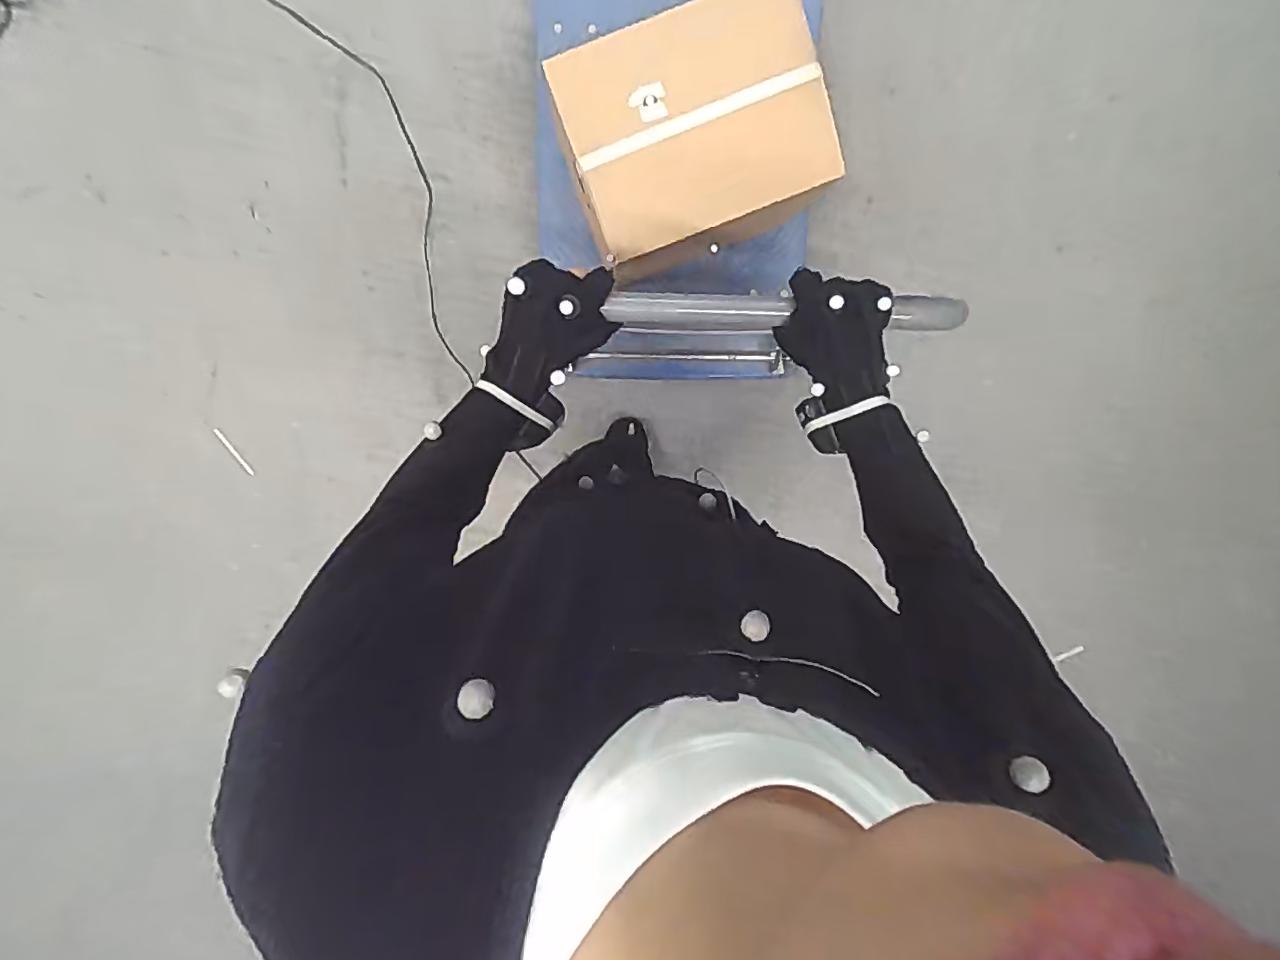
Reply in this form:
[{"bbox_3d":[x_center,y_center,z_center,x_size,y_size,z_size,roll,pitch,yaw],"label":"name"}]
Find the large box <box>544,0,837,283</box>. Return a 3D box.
[{"bbox_3d":[0.082,-0.605,1.004,0.408,0.320,0.320,-21,102,3],"label":"large box"}]
